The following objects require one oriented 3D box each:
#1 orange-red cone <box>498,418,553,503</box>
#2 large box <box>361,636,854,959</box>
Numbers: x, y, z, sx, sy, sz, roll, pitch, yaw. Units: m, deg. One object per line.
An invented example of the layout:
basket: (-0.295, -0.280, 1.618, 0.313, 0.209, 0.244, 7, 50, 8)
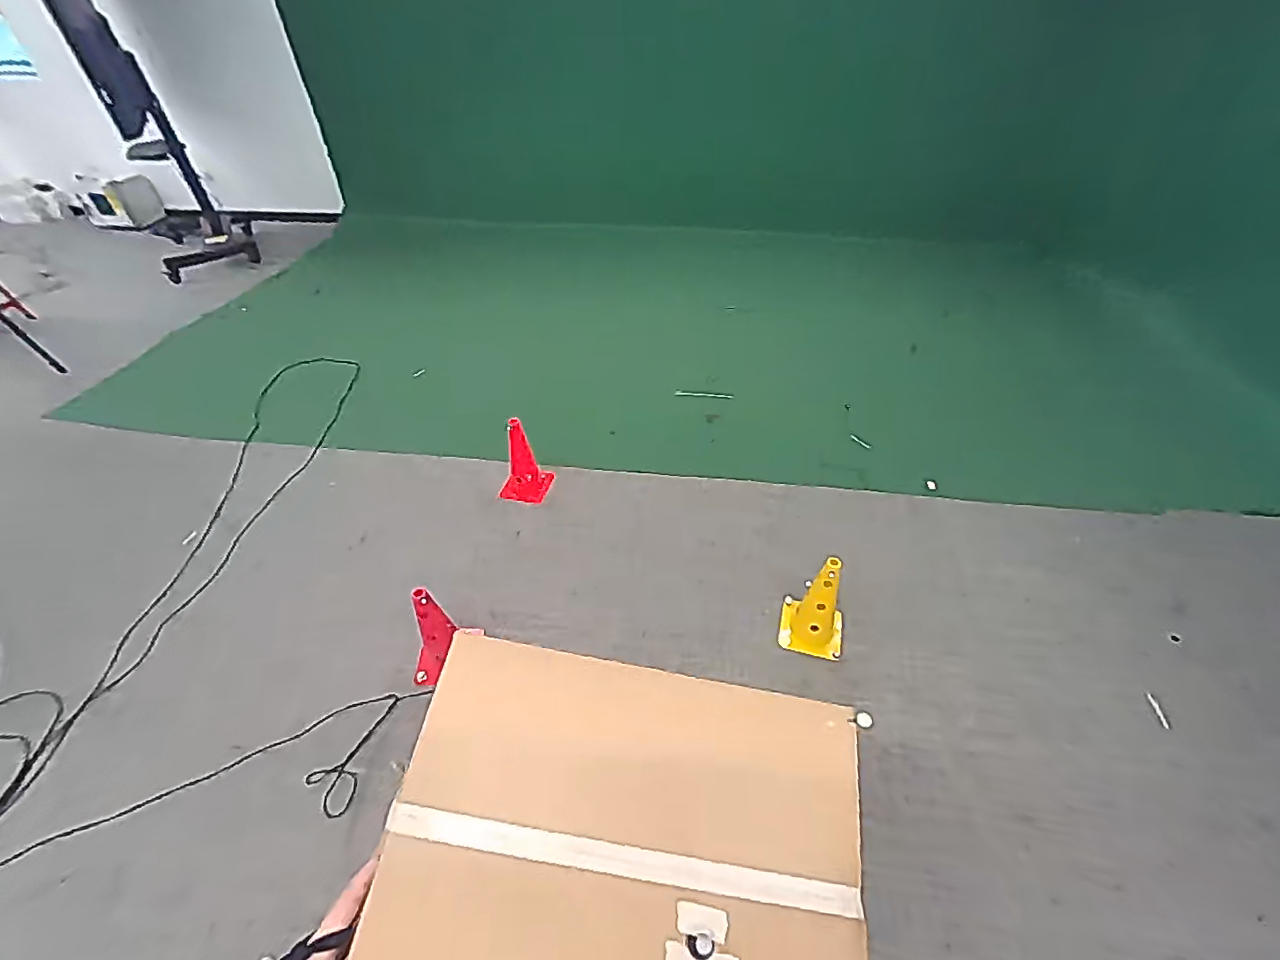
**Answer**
orange-red cone: (-0.506, -0.103, 2.264, 0.199, 0.360, 0.198, 9, 43, 13)
large box: (-0.025, 0.393, 0.602, 0.408, 0.320, 0.320, 11, 61, -1)
